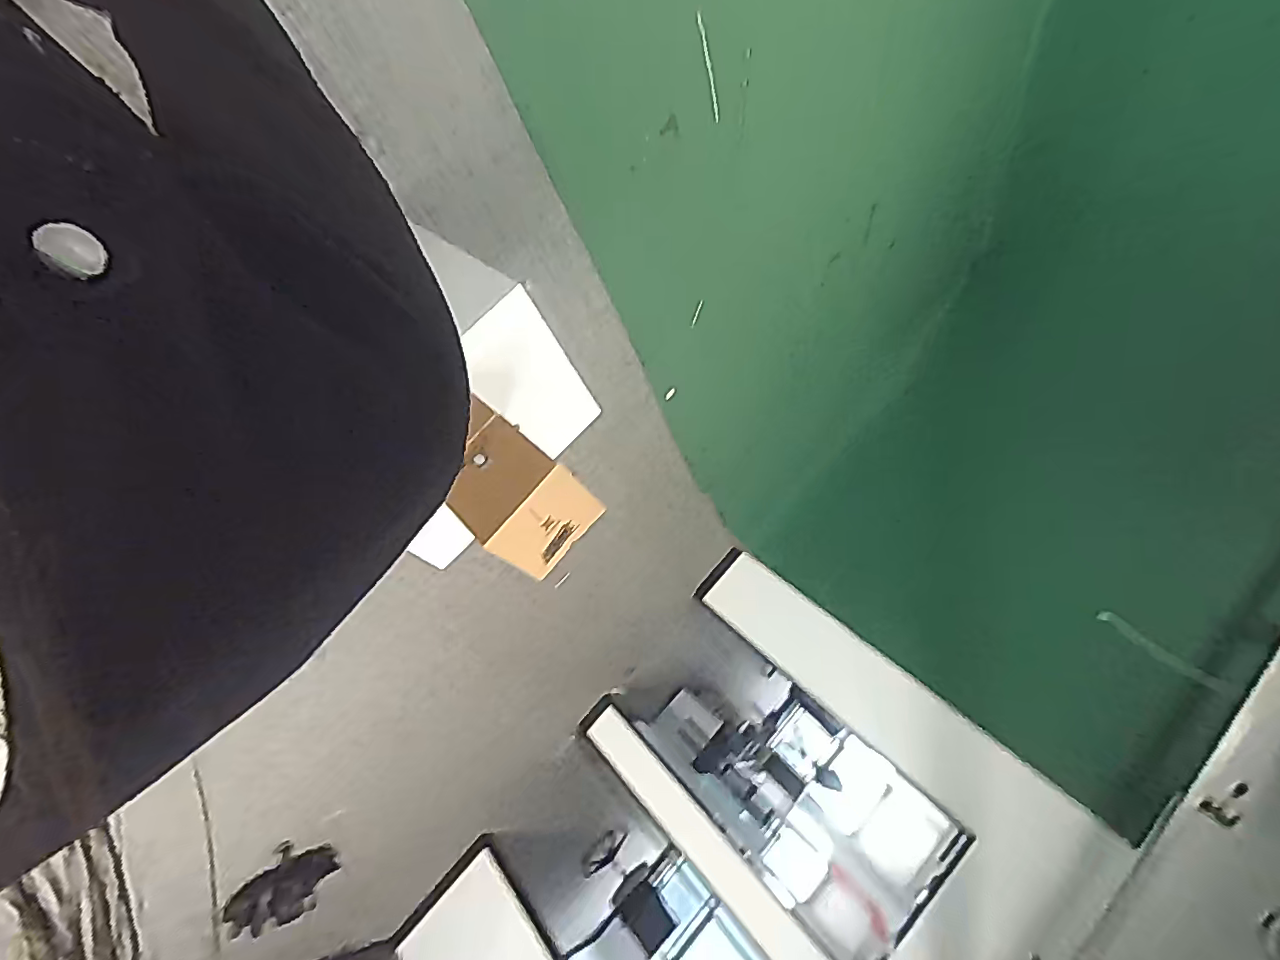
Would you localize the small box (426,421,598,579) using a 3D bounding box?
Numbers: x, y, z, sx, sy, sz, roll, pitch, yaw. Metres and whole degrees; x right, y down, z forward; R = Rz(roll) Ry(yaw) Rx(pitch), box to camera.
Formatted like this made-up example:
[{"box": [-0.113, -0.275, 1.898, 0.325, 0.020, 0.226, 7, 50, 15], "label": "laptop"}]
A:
[{"box": [-0.205, 0.031, 0.882, 0.168, 0.176, 0.179, -49, 149, -4], "label": "small box"}]

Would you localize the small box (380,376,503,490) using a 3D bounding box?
[{"box": [-0.318, -0.056, 0.964, 0.168, 0.176, 0.179, -48, 147, -7], "label": "small box"}]
